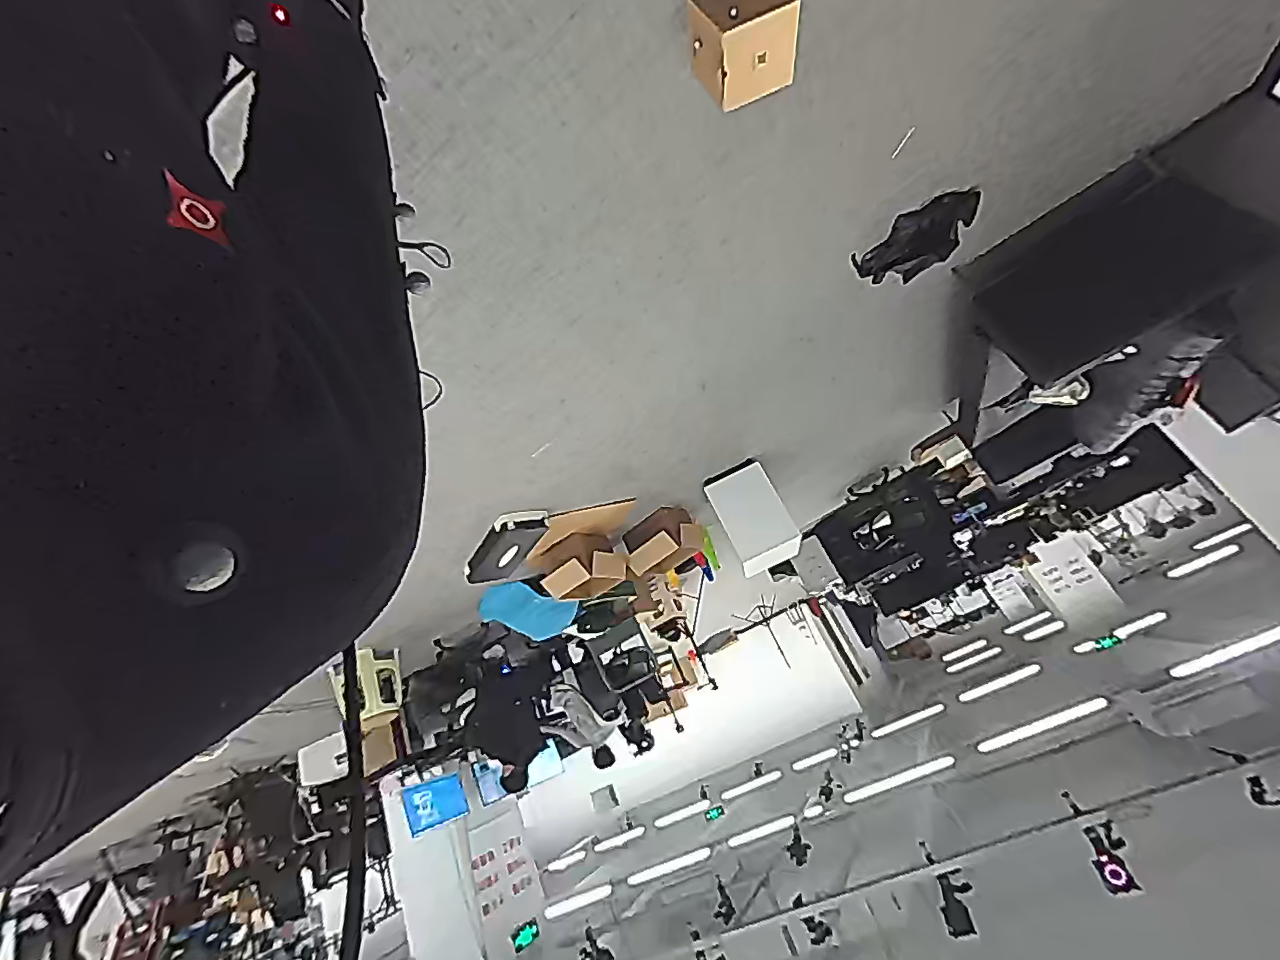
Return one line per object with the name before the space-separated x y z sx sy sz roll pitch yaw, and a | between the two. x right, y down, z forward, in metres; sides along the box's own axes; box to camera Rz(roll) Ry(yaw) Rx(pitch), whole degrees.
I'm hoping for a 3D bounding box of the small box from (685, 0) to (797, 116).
small box | 0.215 -0.954 1.180 0.179 0.176 0.168 -25 157 -1
